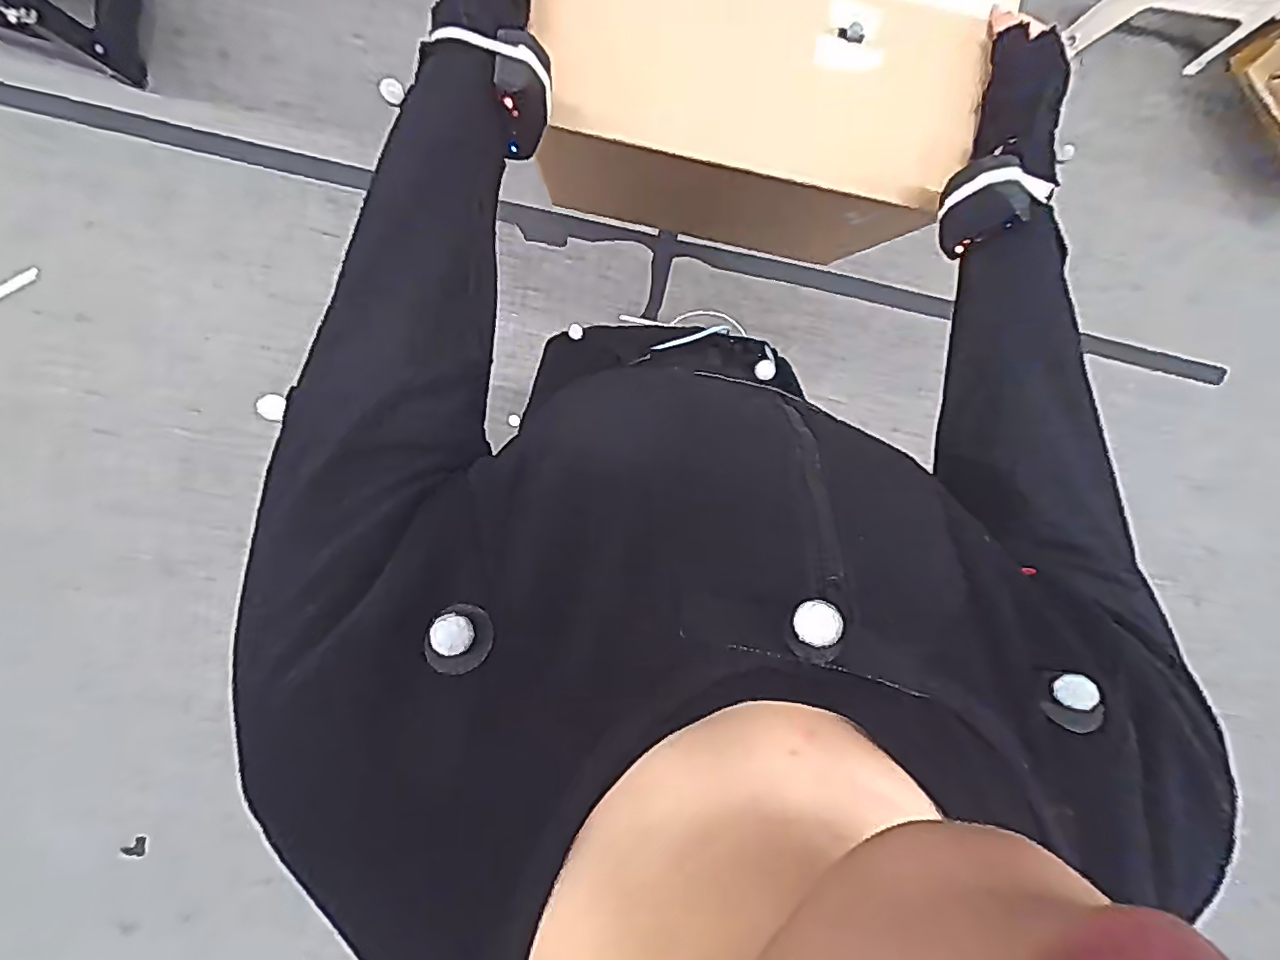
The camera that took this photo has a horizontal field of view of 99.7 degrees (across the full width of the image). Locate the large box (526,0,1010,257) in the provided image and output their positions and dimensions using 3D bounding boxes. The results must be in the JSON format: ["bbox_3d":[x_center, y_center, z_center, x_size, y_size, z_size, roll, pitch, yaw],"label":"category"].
[{"bbox_3d":[0.111,-0.465,0.595,0.408,0.320,0.320,10,104,-6],"label":"large box"}]
